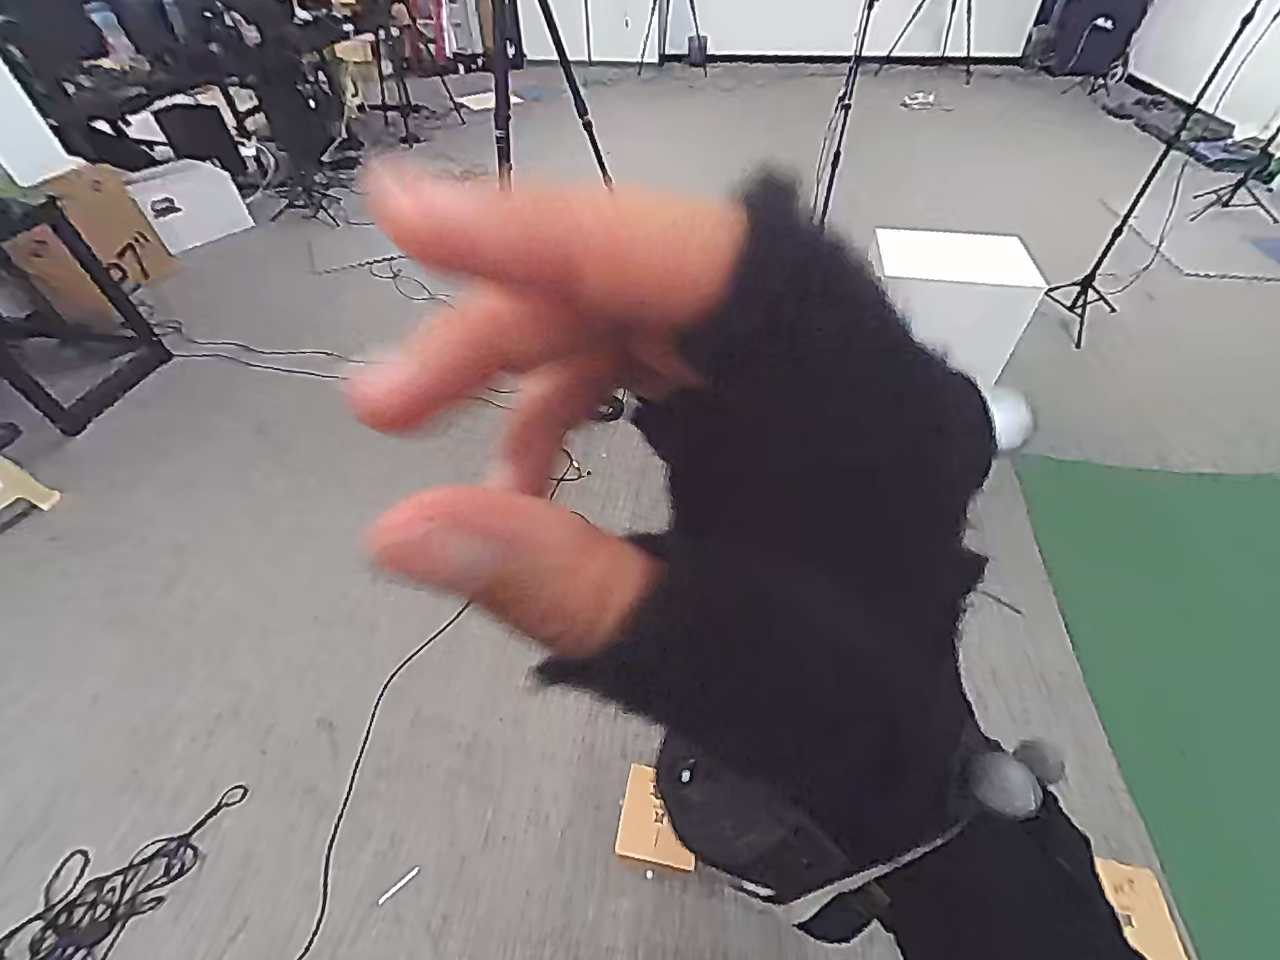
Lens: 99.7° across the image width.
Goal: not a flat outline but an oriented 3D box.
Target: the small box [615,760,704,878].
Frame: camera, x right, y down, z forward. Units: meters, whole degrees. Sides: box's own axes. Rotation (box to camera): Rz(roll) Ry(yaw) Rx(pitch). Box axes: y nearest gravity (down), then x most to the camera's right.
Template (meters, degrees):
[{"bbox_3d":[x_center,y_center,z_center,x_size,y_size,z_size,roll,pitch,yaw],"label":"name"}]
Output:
[{"bbox_3d":[0.046,0.753,1.200,0.168,0.176,0.179,8,49,9],"label":"small box"}]

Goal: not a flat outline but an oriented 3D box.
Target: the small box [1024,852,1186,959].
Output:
[{"bbox_3d":[0.913,0.872,1.076,0.168,0.176,0.179,7,48,7],"label":"small box"}]

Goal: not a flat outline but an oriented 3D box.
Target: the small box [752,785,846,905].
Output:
[{"bbox_3d":[0.335,0.788,1.163,0.168,0.176,0.179,6,47,8],"label":"small box"}]
